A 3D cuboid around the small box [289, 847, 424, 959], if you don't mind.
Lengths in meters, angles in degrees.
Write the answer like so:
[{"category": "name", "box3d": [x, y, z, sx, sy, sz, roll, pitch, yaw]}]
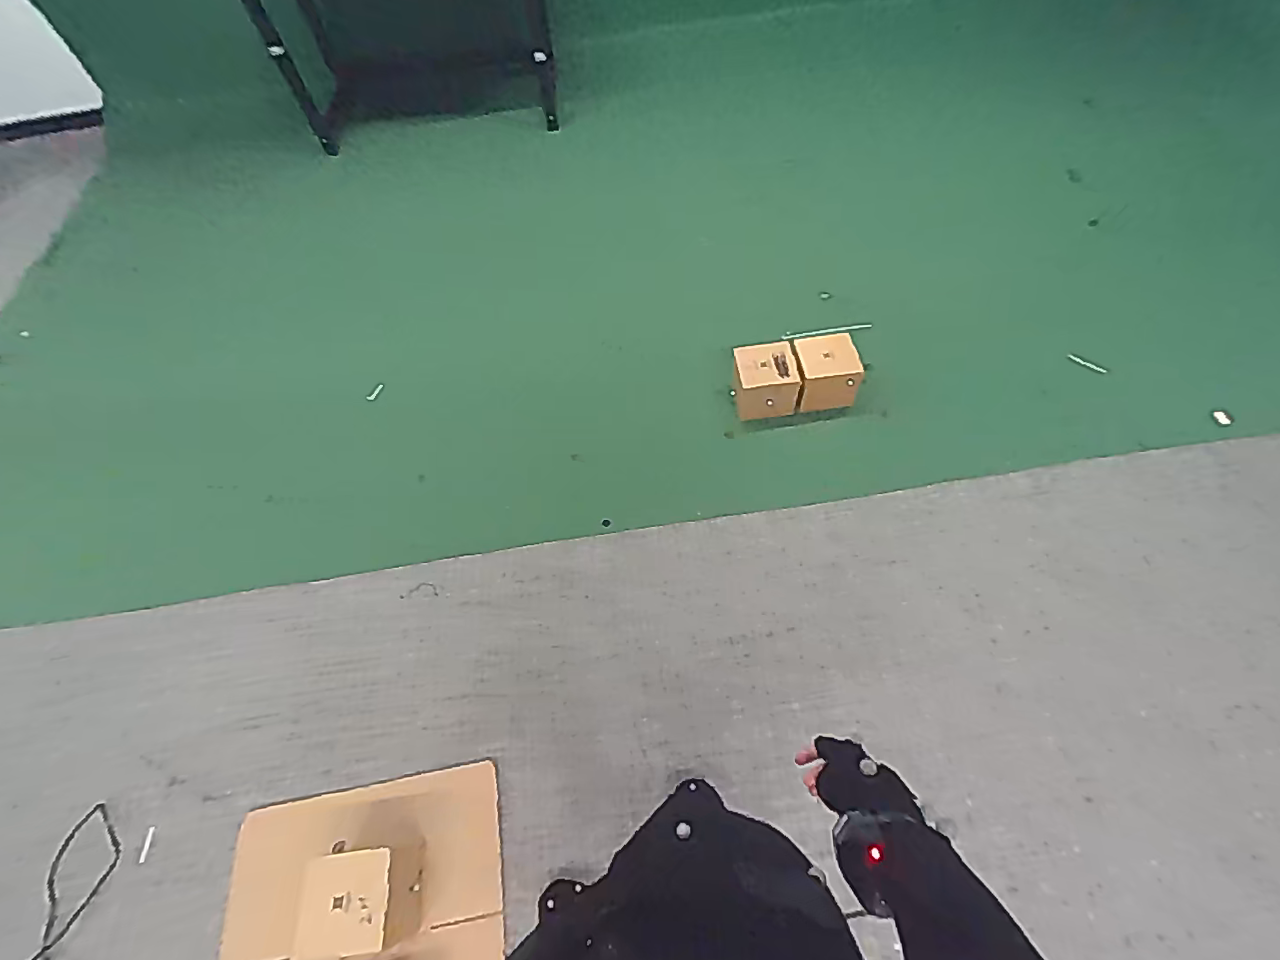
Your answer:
[{"category": "small box", "box3d": [-0.567, 0.862, 1.103, 0.179, 0.176, 0.168, -7, 60, 0]}]
